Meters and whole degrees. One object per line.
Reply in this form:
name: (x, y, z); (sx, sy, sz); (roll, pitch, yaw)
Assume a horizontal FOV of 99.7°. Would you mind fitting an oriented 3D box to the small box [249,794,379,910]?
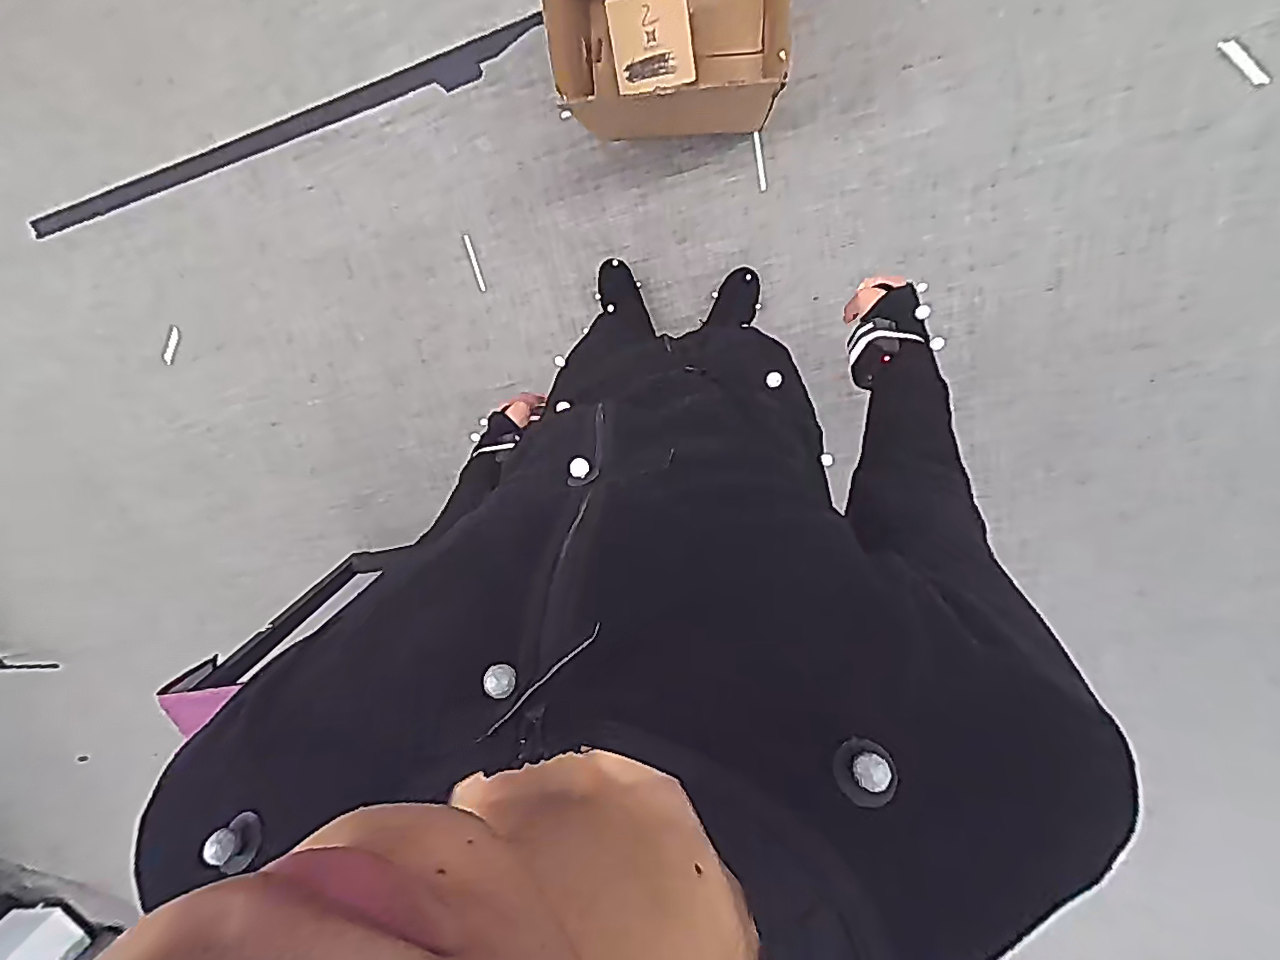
small box: (-0.784, 0.903, 1.320); (0.179, 0.176, 0.168); (-16, 110, 14)
